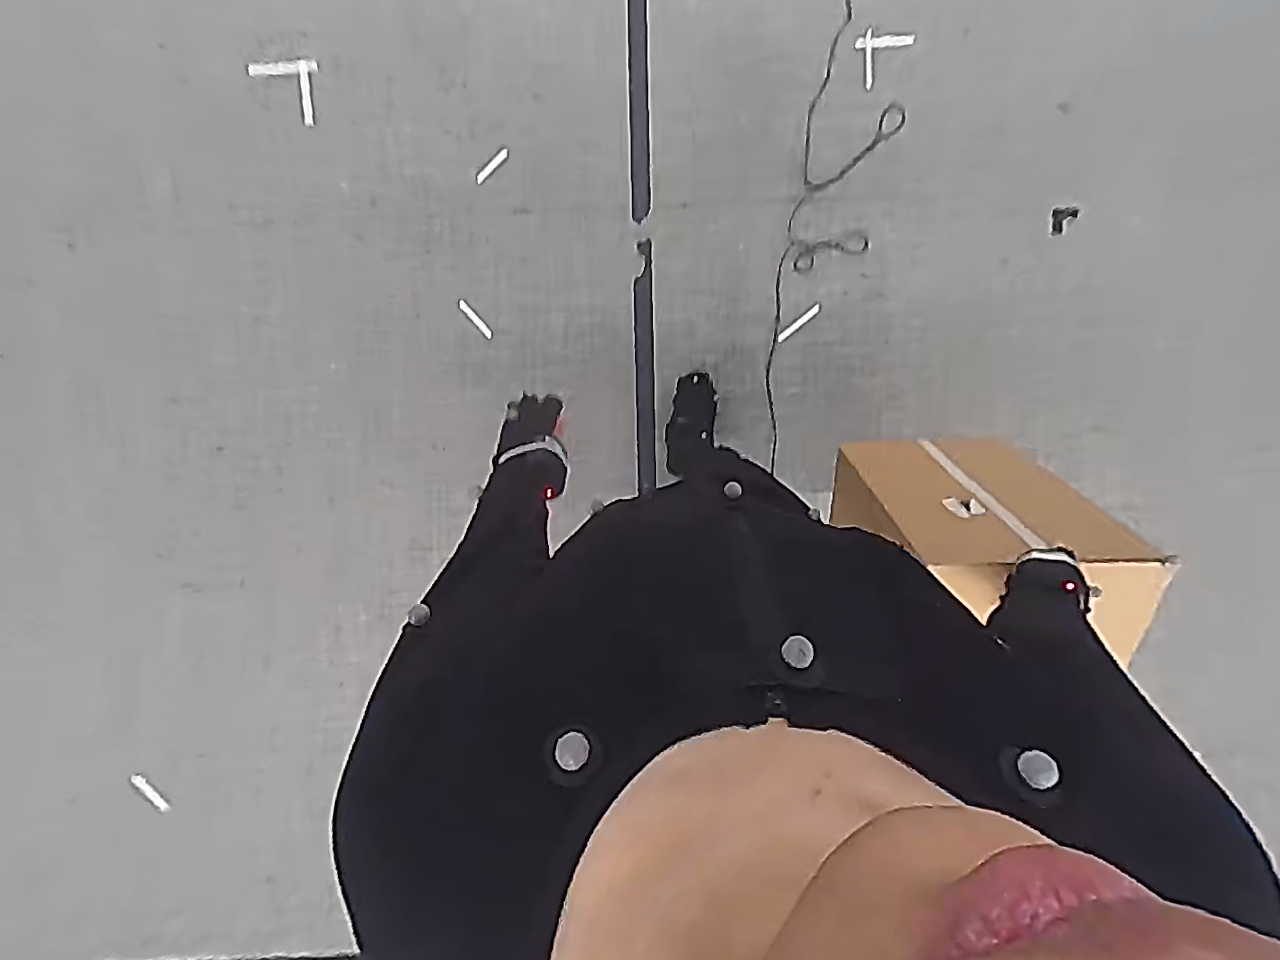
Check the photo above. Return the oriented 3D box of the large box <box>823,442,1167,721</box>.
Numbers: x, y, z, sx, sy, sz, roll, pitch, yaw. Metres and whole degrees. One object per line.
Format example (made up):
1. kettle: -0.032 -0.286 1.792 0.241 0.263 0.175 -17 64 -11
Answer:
1. large box: 0.547 0.153 0.953 0.320 0.408 0.320 -2 118 3
